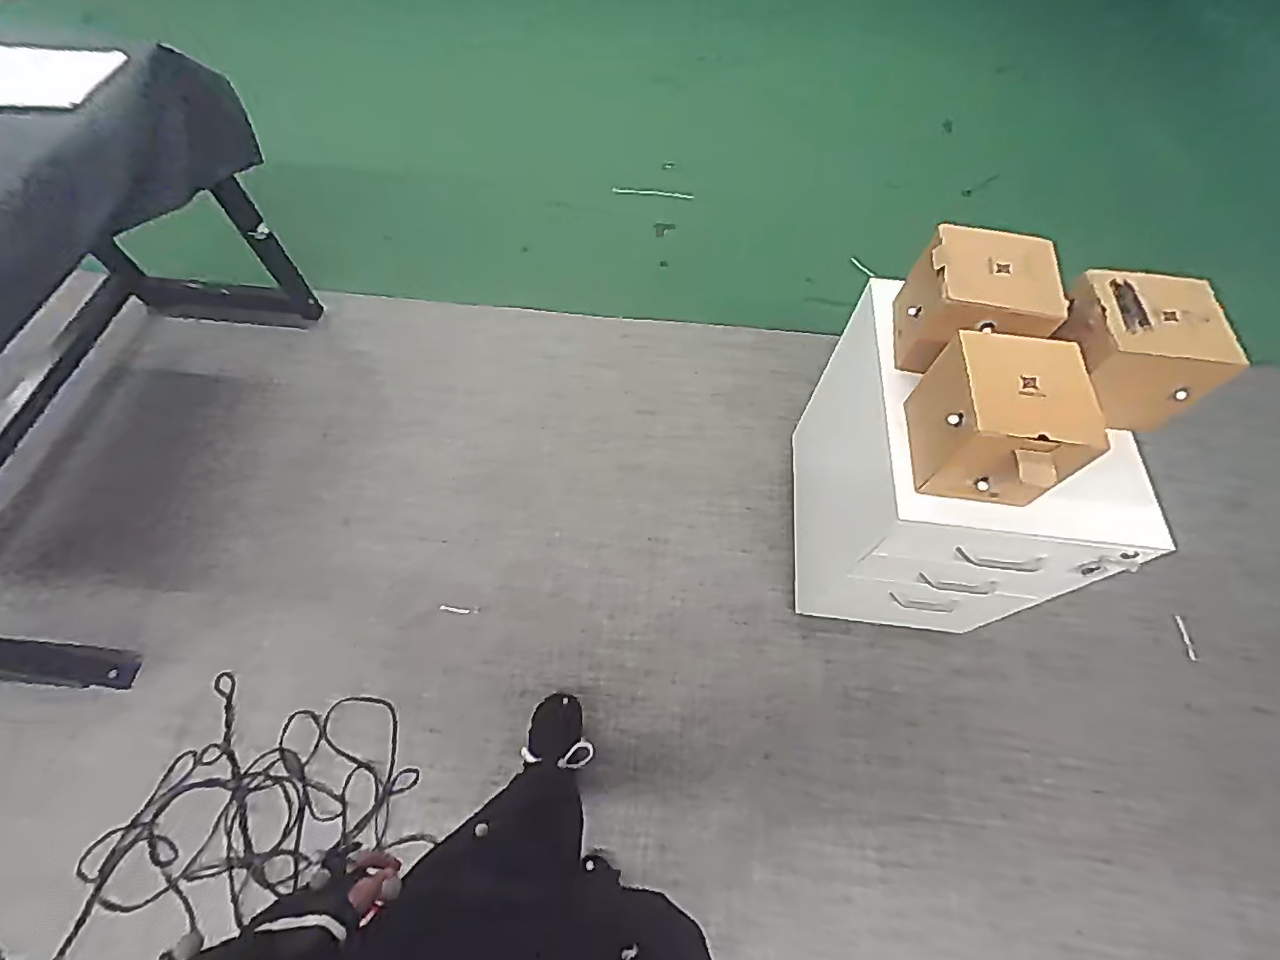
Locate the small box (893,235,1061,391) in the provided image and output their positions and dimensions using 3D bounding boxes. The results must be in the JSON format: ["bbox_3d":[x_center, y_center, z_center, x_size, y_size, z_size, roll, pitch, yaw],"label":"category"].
[{"bbox_3d":[0.533,-0.267,0.888,0.179,0.176,0.168,11,63,3],"label":"small box"}]
